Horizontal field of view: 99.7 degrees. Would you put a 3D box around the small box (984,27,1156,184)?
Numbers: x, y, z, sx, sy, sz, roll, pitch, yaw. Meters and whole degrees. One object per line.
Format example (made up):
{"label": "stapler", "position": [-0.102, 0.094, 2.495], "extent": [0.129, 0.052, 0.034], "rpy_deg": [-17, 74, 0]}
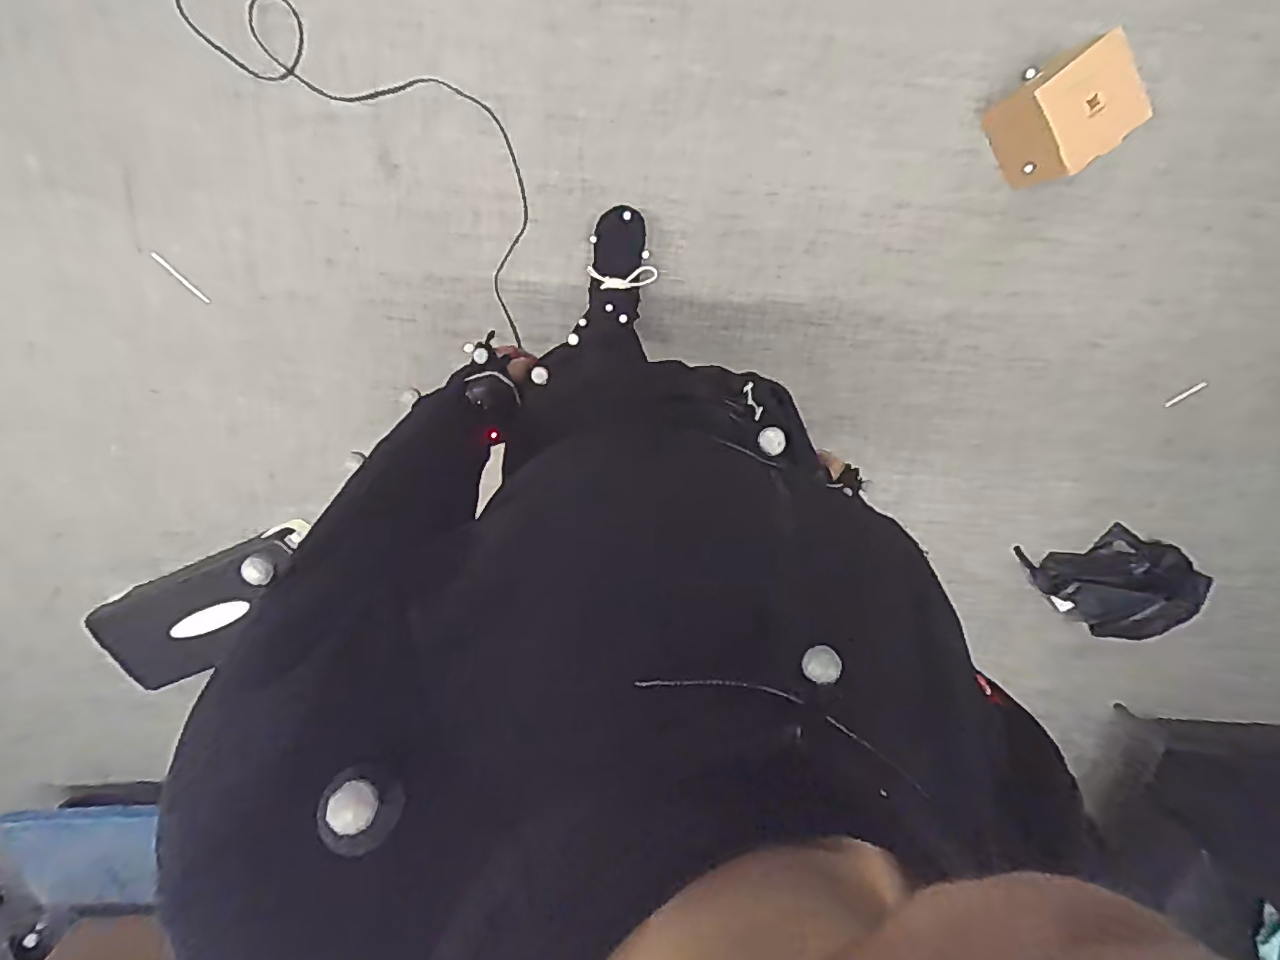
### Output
{"label": "small box", "position": [0.821, -0.704, 1.048], "extent": [0.168, 0.176, 0.179], "rpy_deg": [-37, 106, 11]}
